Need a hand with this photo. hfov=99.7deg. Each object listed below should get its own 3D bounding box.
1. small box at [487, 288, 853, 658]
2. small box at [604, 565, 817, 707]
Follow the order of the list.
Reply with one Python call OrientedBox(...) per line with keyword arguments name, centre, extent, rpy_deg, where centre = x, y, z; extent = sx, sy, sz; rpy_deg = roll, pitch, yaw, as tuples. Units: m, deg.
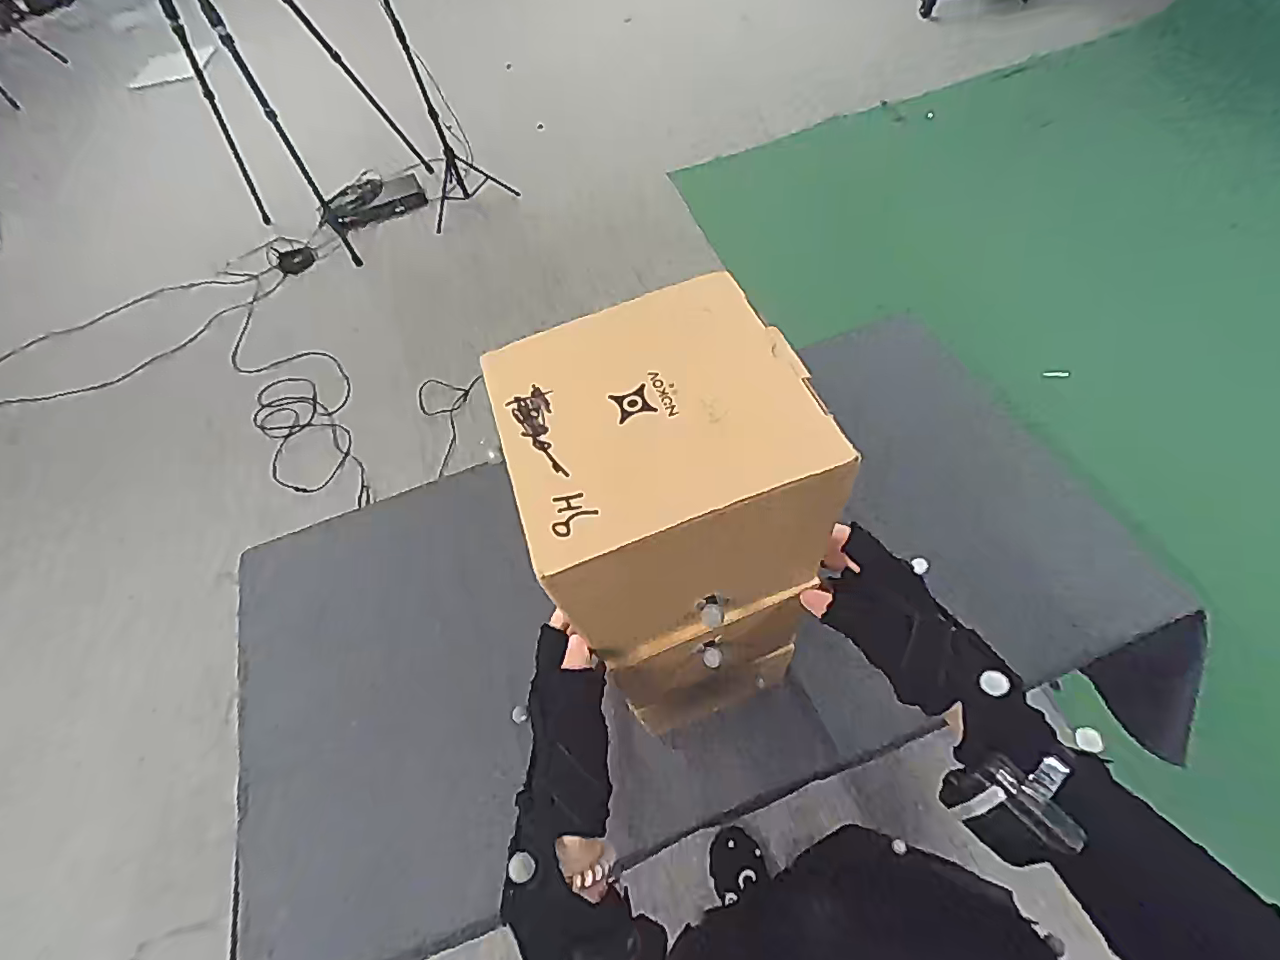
OrientedBox(name="small box", centre=(0.014, 0.003, 0.382), extent=(0.179, 0.176, 0.168), rpy_deg=(-19, 57, -5))
OrientedBox(name="small box", centre=(0.039, 0.094, 0.516), extent=(0.179, 0.176, 0.168), rpy_deg=(-22, 57, -5))
